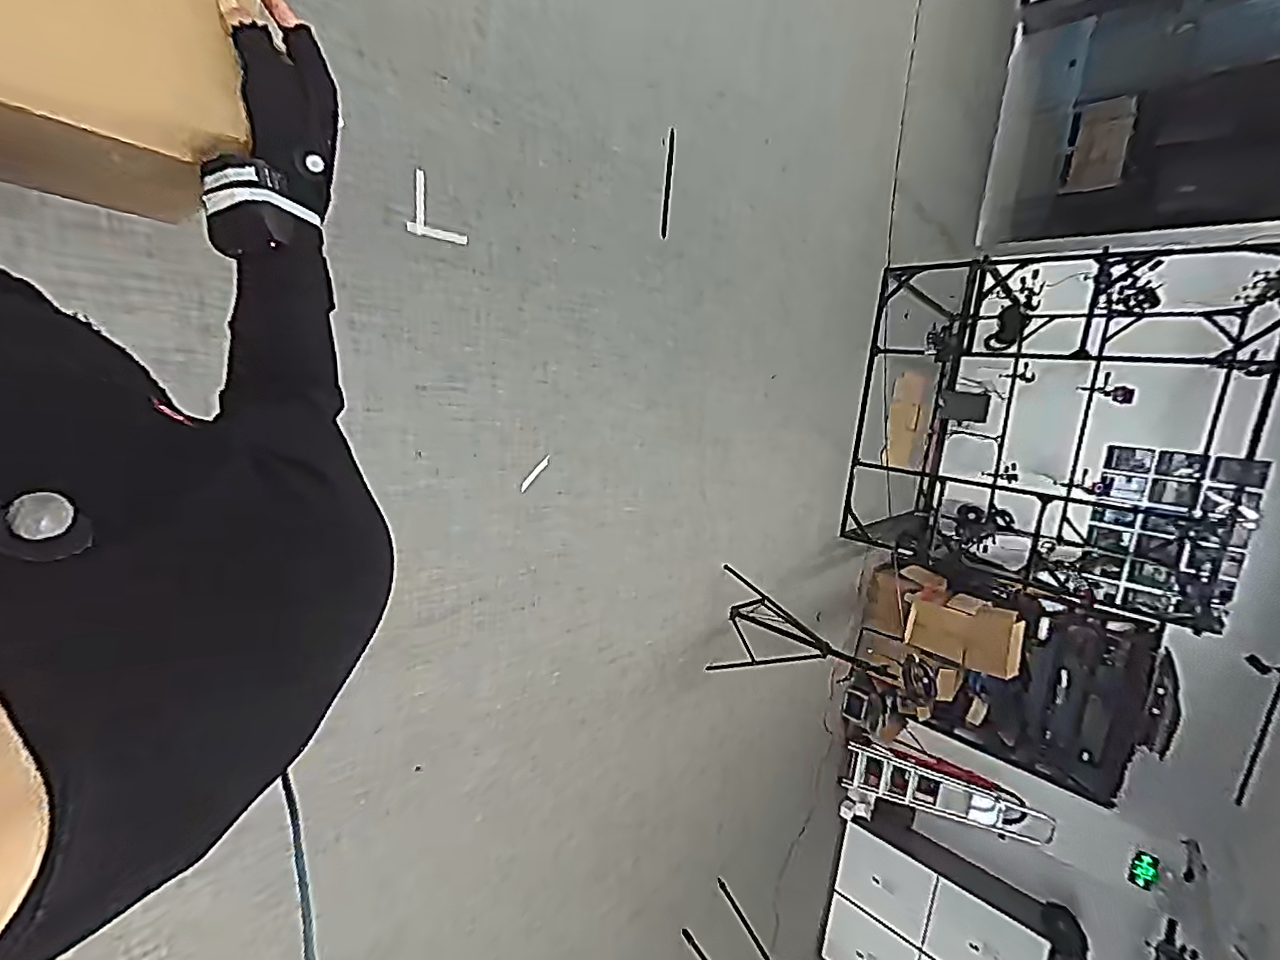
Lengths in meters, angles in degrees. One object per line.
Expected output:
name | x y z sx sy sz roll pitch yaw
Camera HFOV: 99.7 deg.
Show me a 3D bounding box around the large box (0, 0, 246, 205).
large box | -0.557 -0.430 0.370 0.408 0.320 0.320 -4 105 -50
